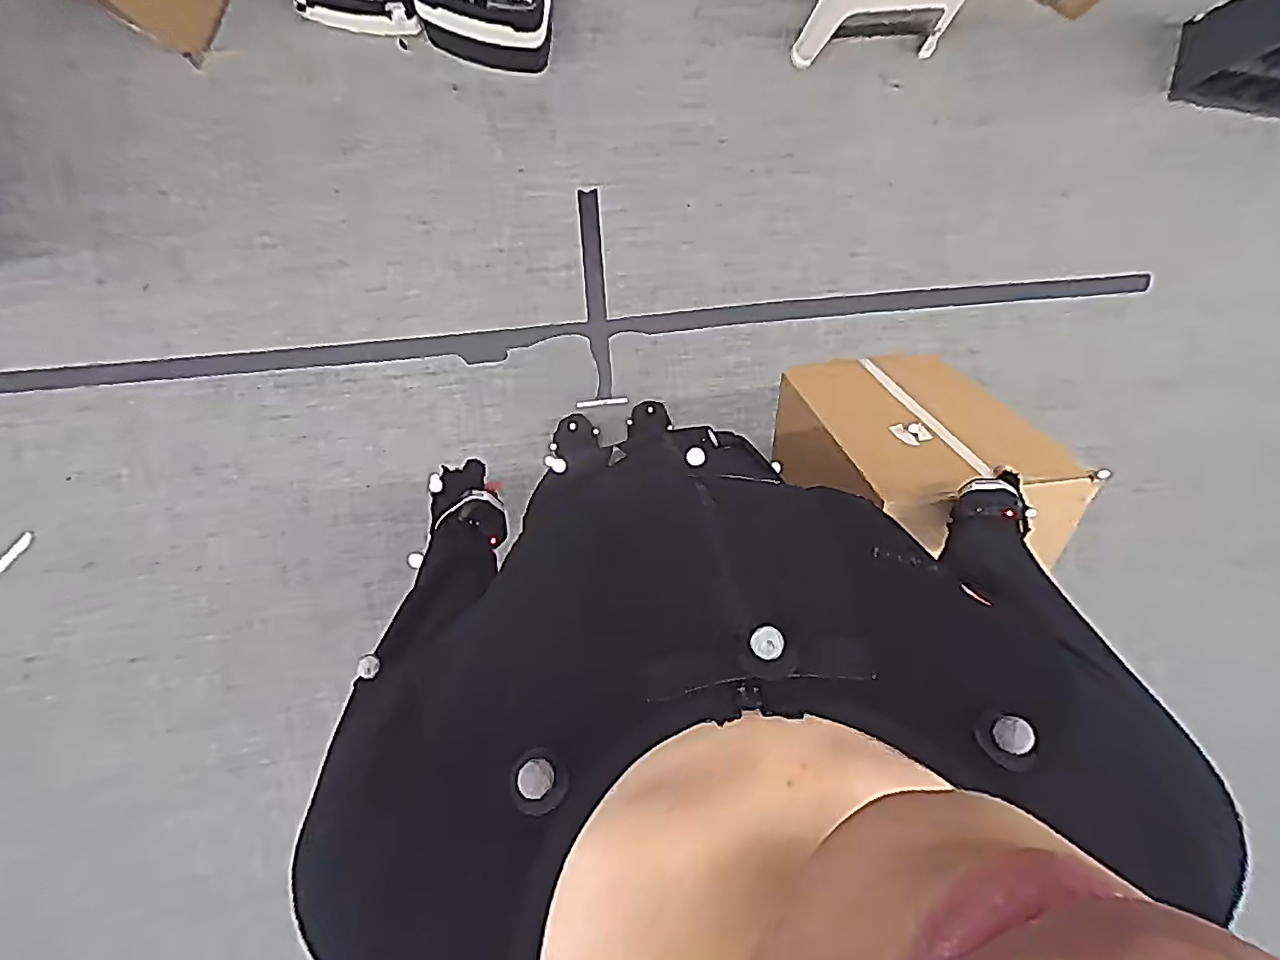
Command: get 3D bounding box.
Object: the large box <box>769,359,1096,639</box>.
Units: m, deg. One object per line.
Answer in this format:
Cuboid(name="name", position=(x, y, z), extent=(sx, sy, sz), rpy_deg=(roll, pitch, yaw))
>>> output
Cuboid(name="large box", position=(0.458, 0.017, 0.979), extent=(0.320, 0.408, 0.320), rpy_deg=(-6, 129, -4))
